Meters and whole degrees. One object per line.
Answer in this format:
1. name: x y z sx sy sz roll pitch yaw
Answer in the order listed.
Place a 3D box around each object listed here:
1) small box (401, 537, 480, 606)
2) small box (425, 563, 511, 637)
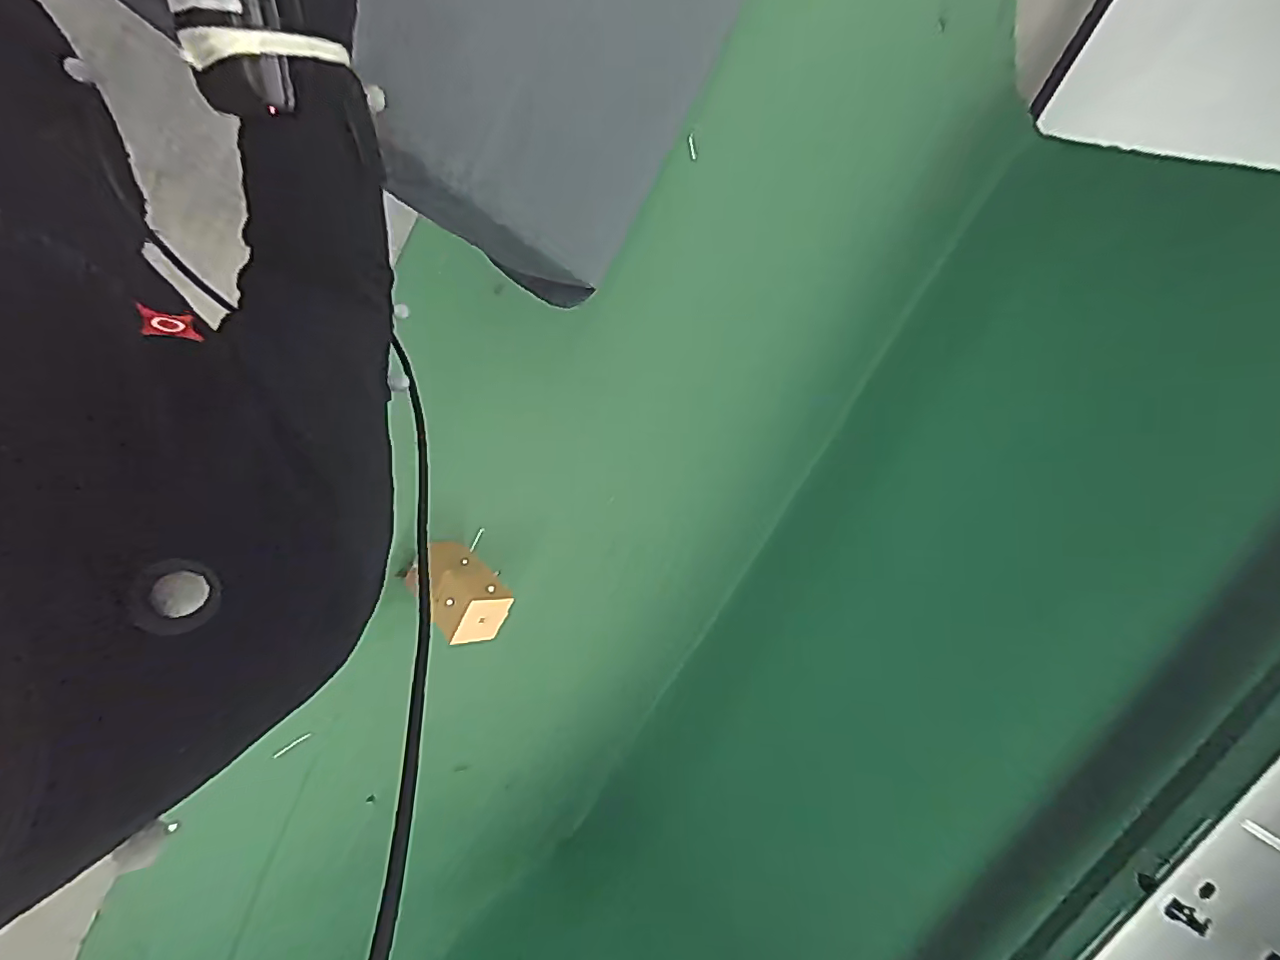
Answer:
1. small box: -0.672 0.307 1.839 0.179 0.176 0.168 14 108 -54
2. small box: -0.560 0.380 1.746 0.179 0.176 0.168 12 110 -56
